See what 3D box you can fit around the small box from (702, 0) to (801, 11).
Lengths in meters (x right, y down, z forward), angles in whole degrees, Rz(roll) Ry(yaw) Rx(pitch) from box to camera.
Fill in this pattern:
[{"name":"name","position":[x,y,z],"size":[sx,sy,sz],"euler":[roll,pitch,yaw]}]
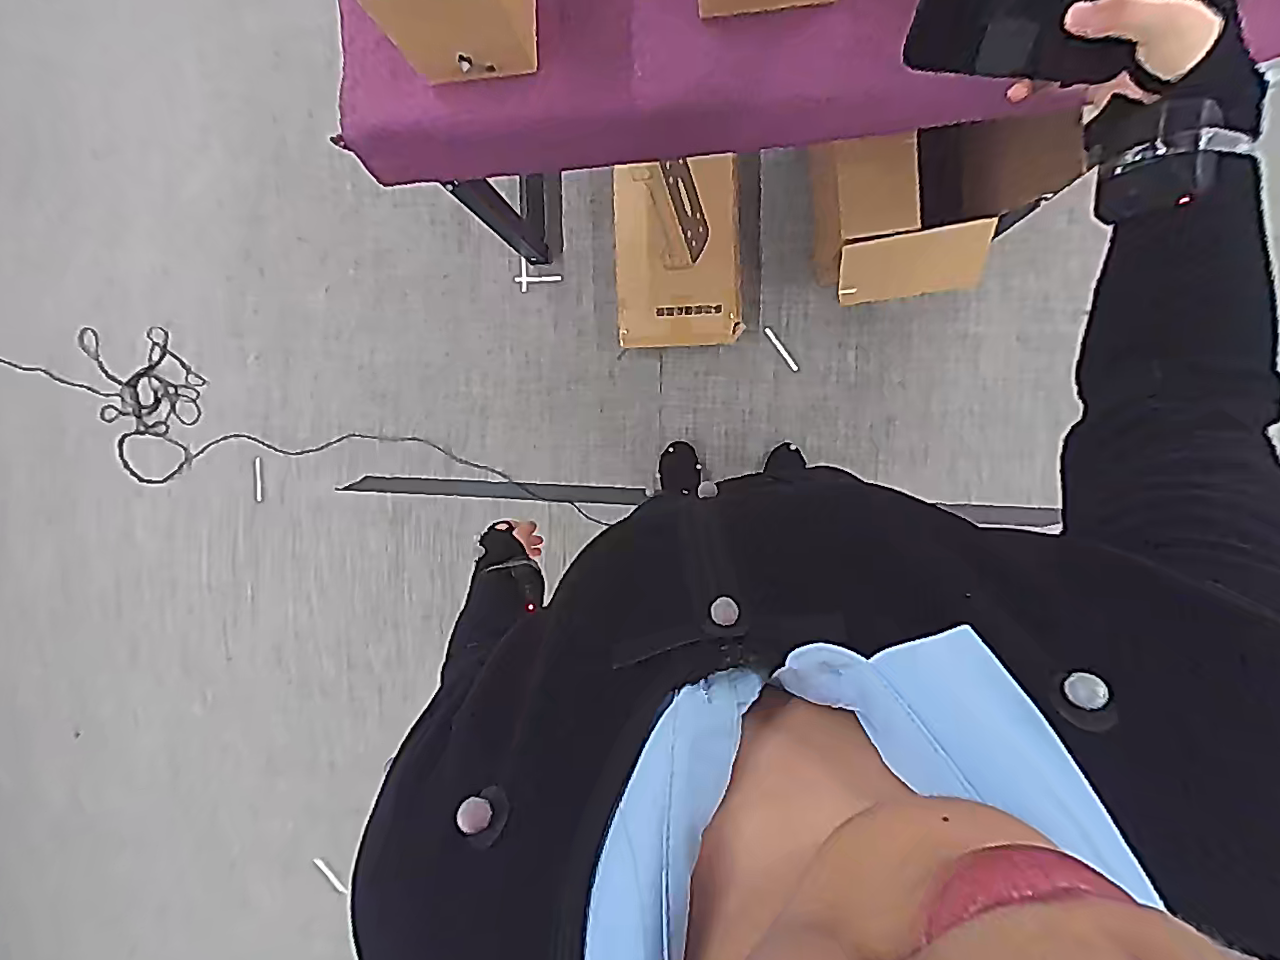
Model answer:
[{"name":"small box","position":[0.155,-0.683,0.608],"size":[0.179,0.176,0.168],"euler":[-1,92,9]}]
